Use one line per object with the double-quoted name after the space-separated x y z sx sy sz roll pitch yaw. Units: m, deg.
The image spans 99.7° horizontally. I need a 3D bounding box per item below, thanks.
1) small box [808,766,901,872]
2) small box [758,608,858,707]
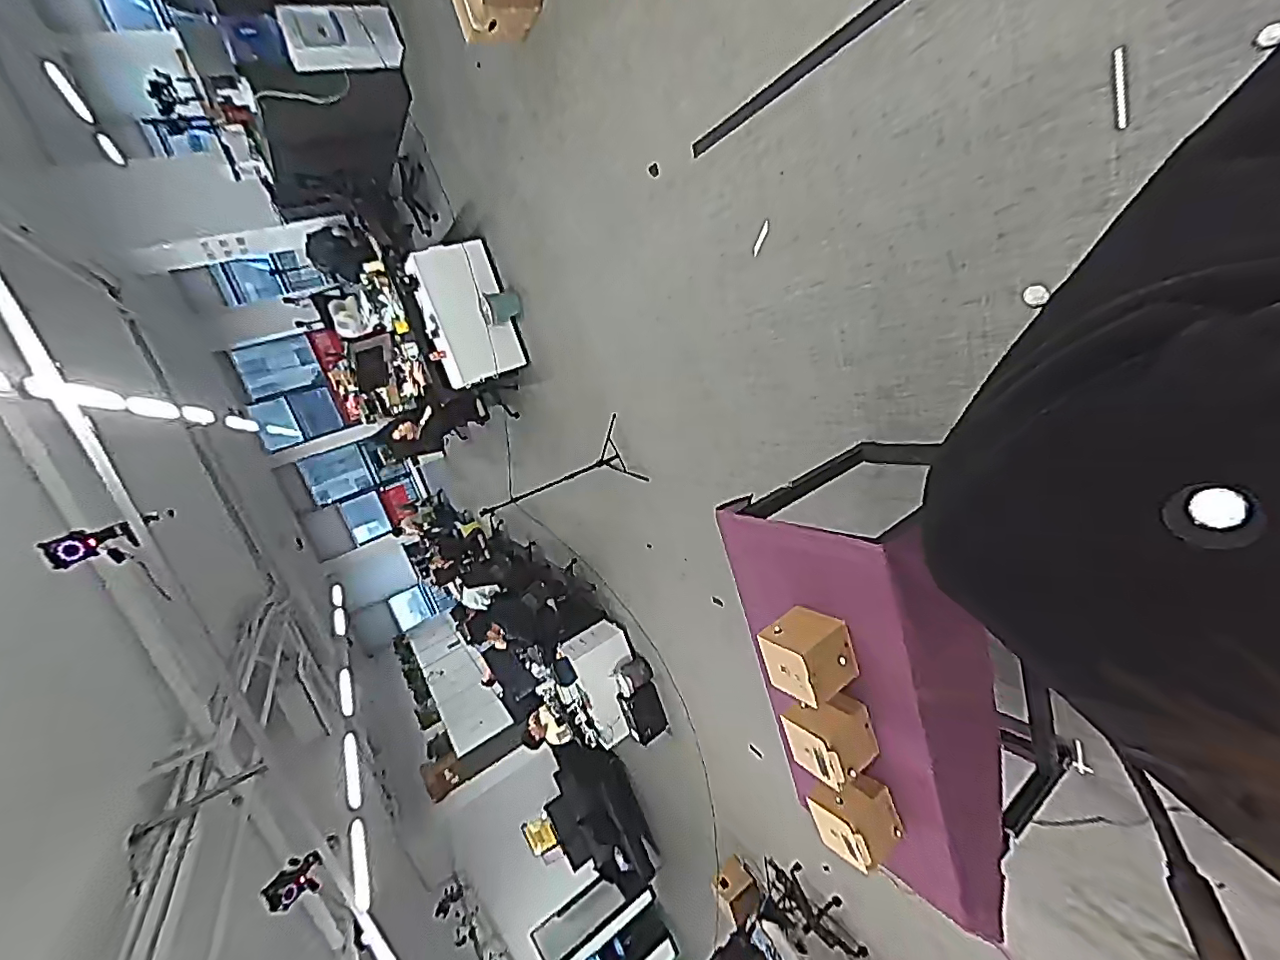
0.636 0.984 1.588 0.179 0.176 0.168 -10 104 64 "small box"
0.456 0.470 1.466 0.179 0.176 0.168 6 118 60 "small box"
